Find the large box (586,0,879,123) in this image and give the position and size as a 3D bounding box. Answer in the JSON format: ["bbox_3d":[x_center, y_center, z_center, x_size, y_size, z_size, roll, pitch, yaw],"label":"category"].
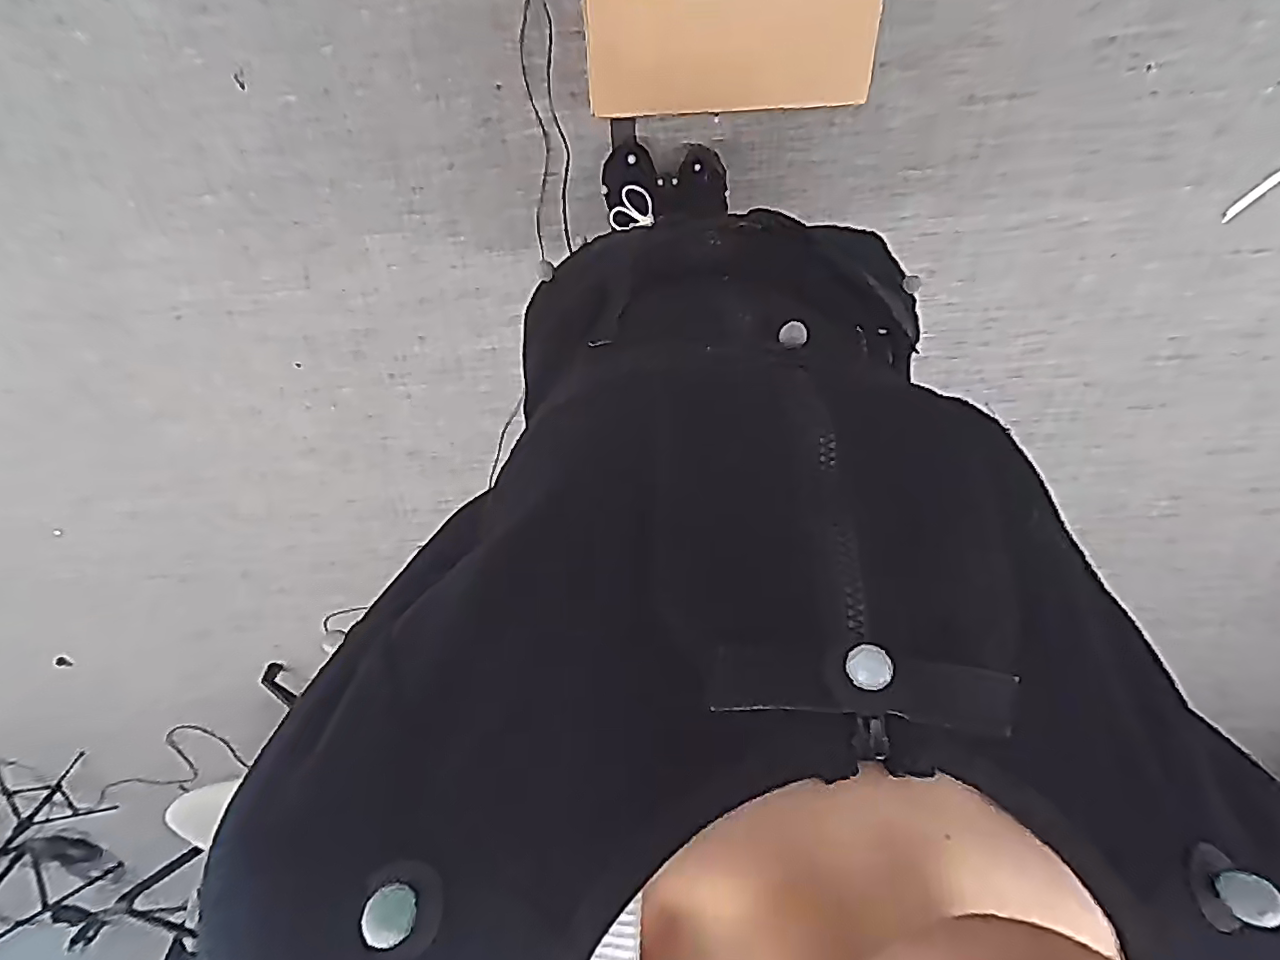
[{"bbox_3d":[0.123,-0.754,0.840,0.408,0.320,0.320,-2,125,1],"label":"large box"}]
